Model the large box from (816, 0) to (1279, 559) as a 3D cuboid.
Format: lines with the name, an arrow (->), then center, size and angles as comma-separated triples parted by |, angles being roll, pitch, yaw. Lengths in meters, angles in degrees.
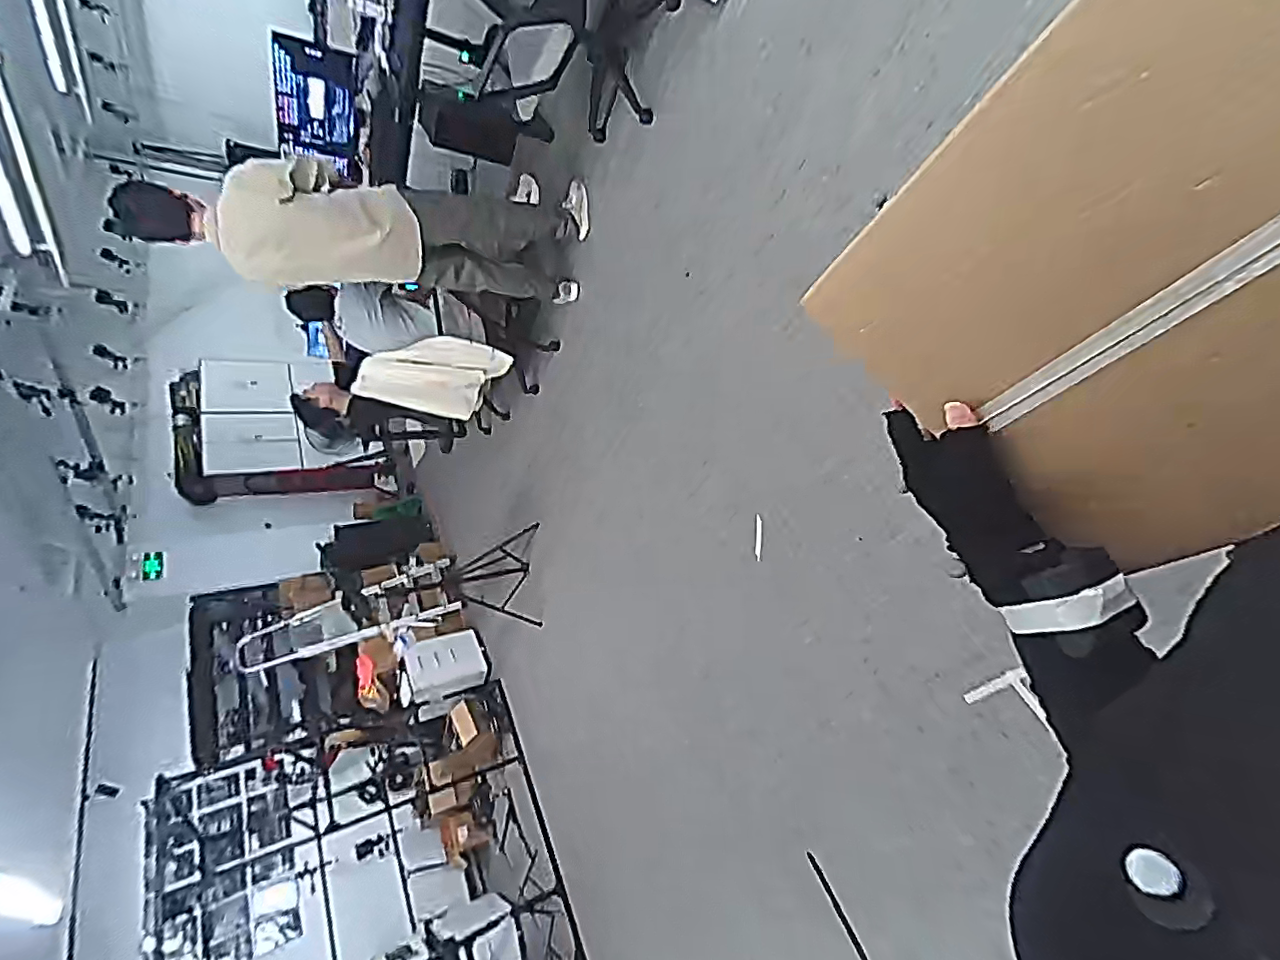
large box -> 0.410, -0.214, 0.373 | 0.320, 0.320, 0.408 | 44, 140, 1
